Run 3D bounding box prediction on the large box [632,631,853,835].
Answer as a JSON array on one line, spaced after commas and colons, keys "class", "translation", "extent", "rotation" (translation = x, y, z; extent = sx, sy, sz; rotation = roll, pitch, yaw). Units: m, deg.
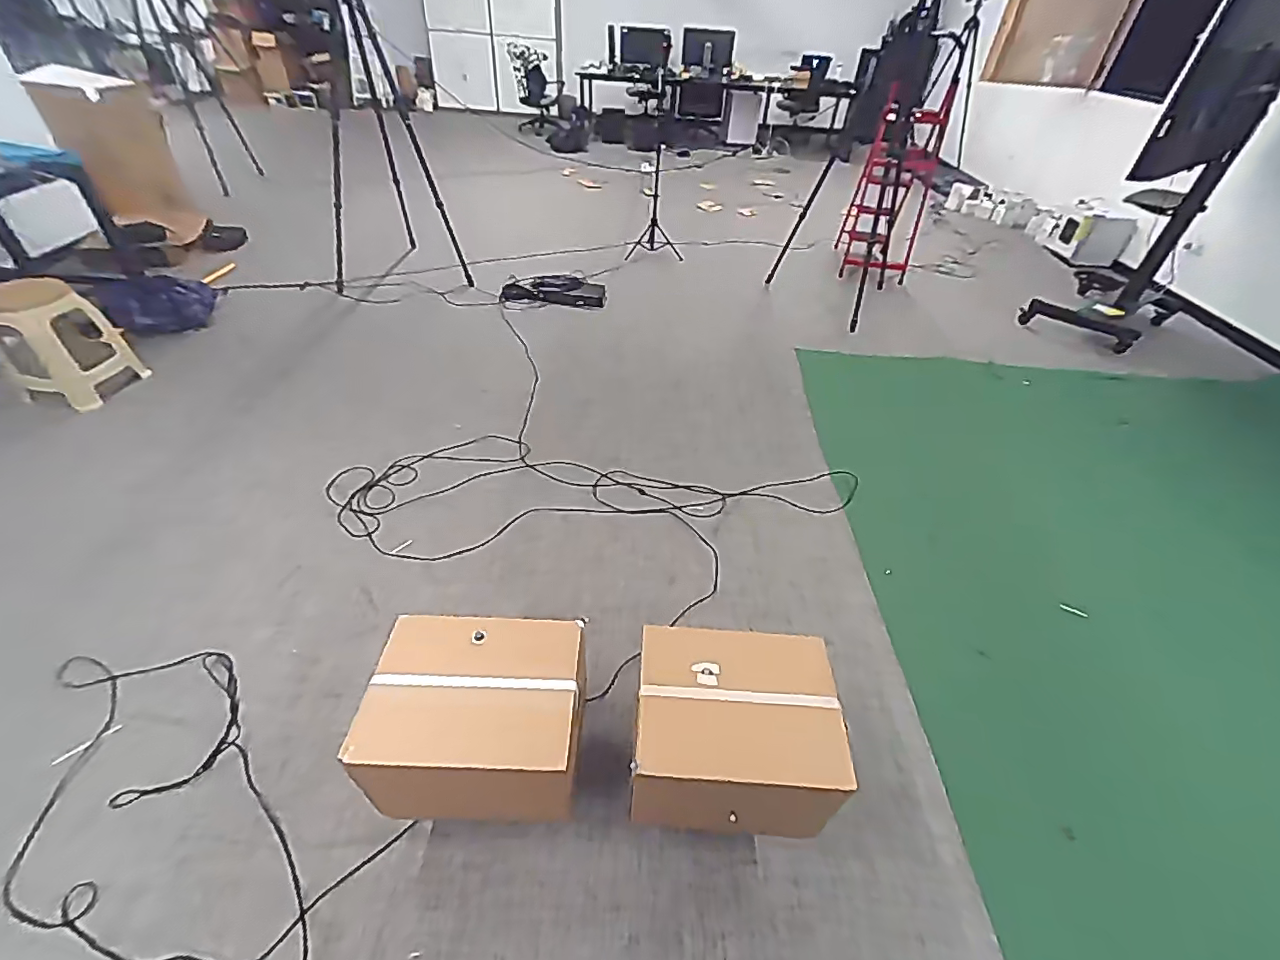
[{"class": "large box", "translation": [0.196, 0.561, 1.197], "extent": [0.408, 0.320, 0.320], "rotation": [4, 42, 1]}]
